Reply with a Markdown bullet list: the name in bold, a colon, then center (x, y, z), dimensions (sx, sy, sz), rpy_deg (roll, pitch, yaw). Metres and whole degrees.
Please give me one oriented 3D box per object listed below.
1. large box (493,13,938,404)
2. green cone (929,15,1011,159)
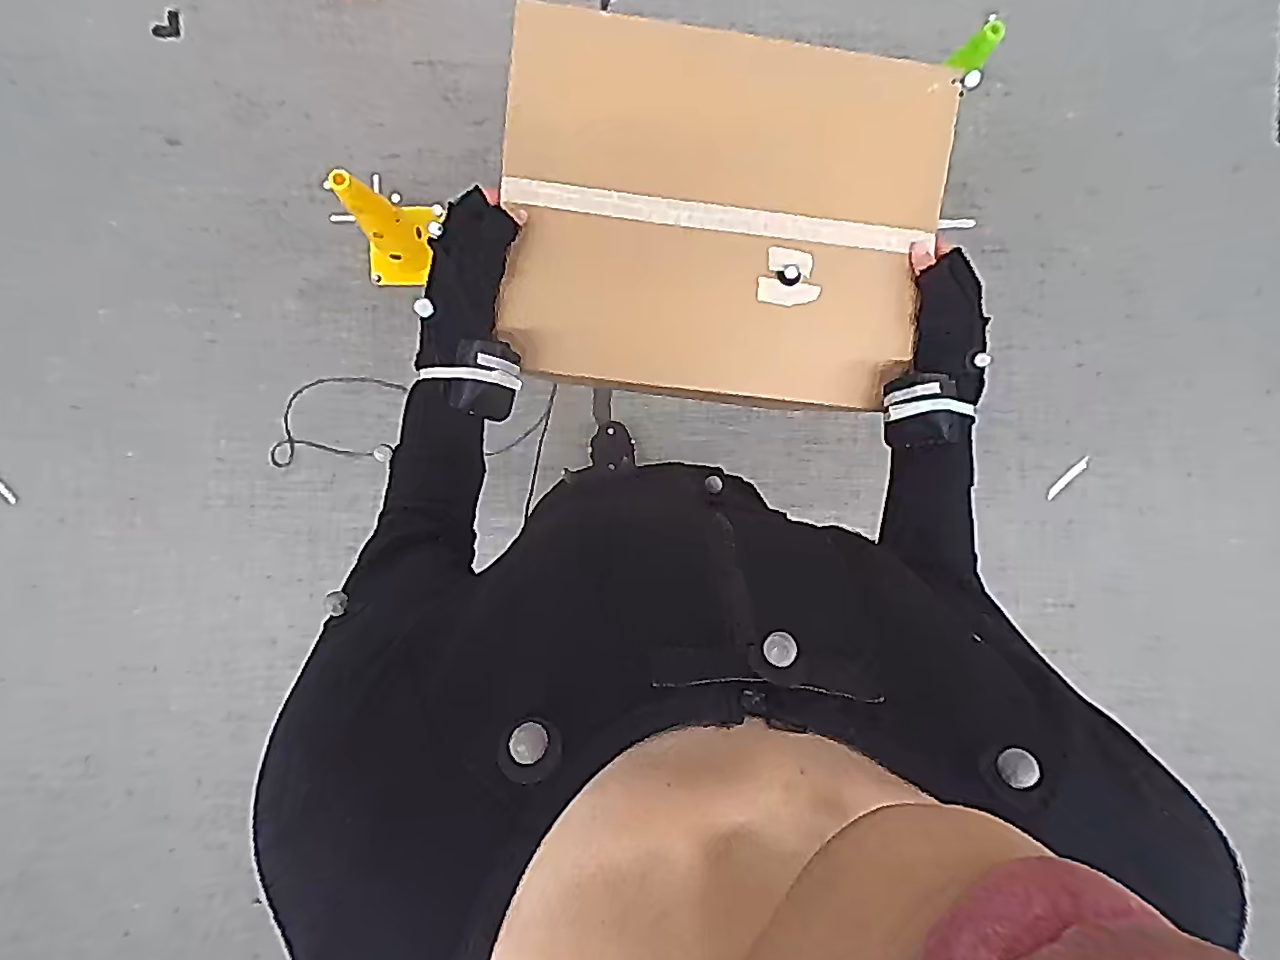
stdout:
- **large box**: center (0.058, -0.264, 0.652), dimensions (0.408, 0.320, 0.320), rpy_deg (5, 98, -4)
- **green cone**: center (0.718, -0.923, 1.268), dimensions (0.202, 0.368, 0.200), rpy_deg (-37, 95, -1)
